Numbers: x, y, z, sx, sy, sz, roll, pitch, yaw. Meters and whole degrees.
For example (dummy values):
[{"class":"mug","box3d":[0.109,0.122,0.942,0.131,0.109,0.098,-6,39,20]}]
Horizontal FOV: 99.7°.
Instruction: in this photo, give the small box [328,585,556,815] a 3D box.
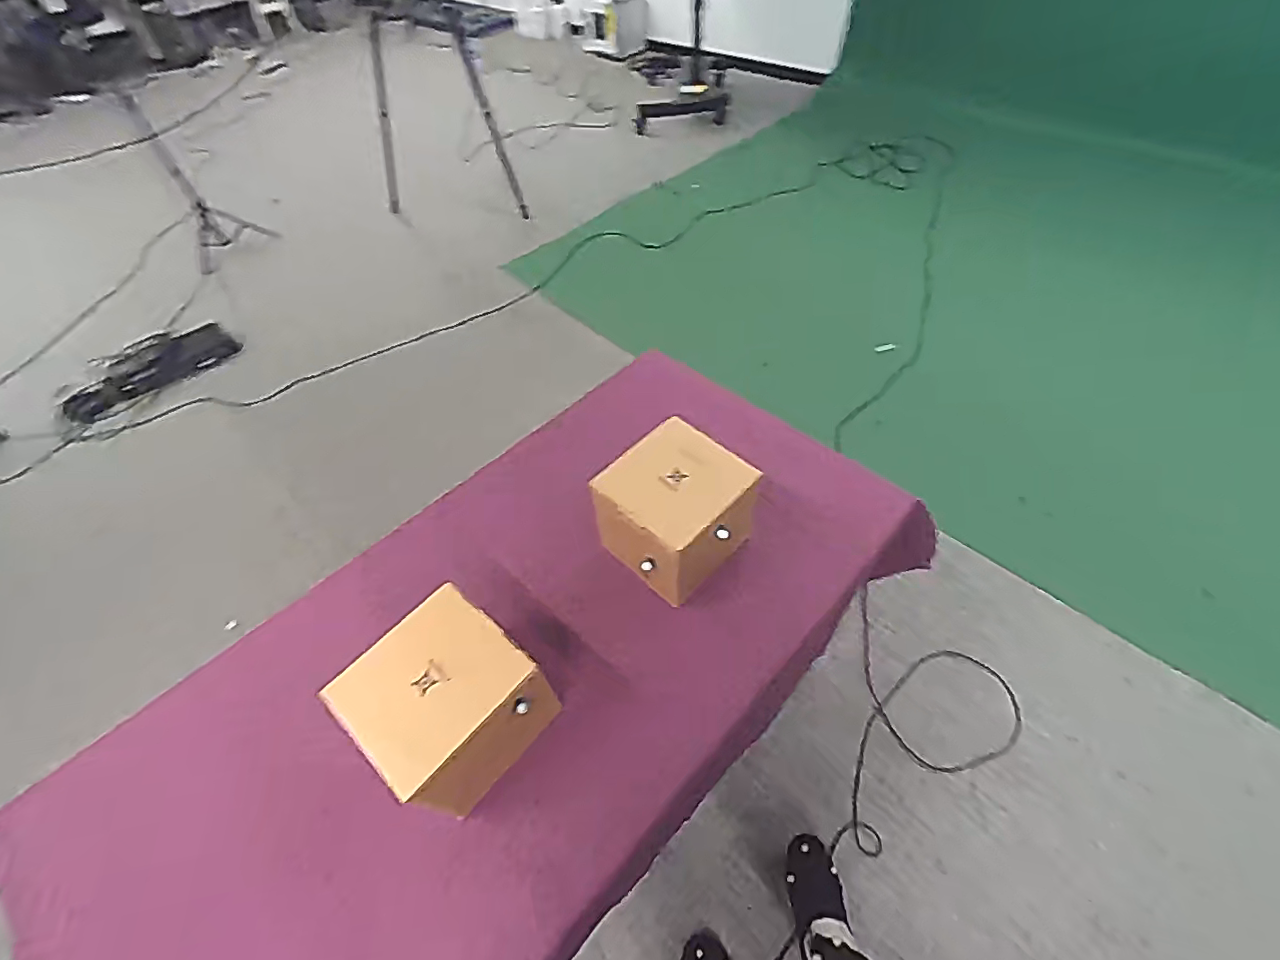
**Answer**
[{"class":"small box","box3d":[-0.225,0.271,0.659,0.168,0.176,0.179,32,61,26]}]

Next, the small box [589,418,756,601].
[{"class":"small box","box3d":[0.051,0.048,0.806,0.168,0.176,0.179,37,63,27]}]
